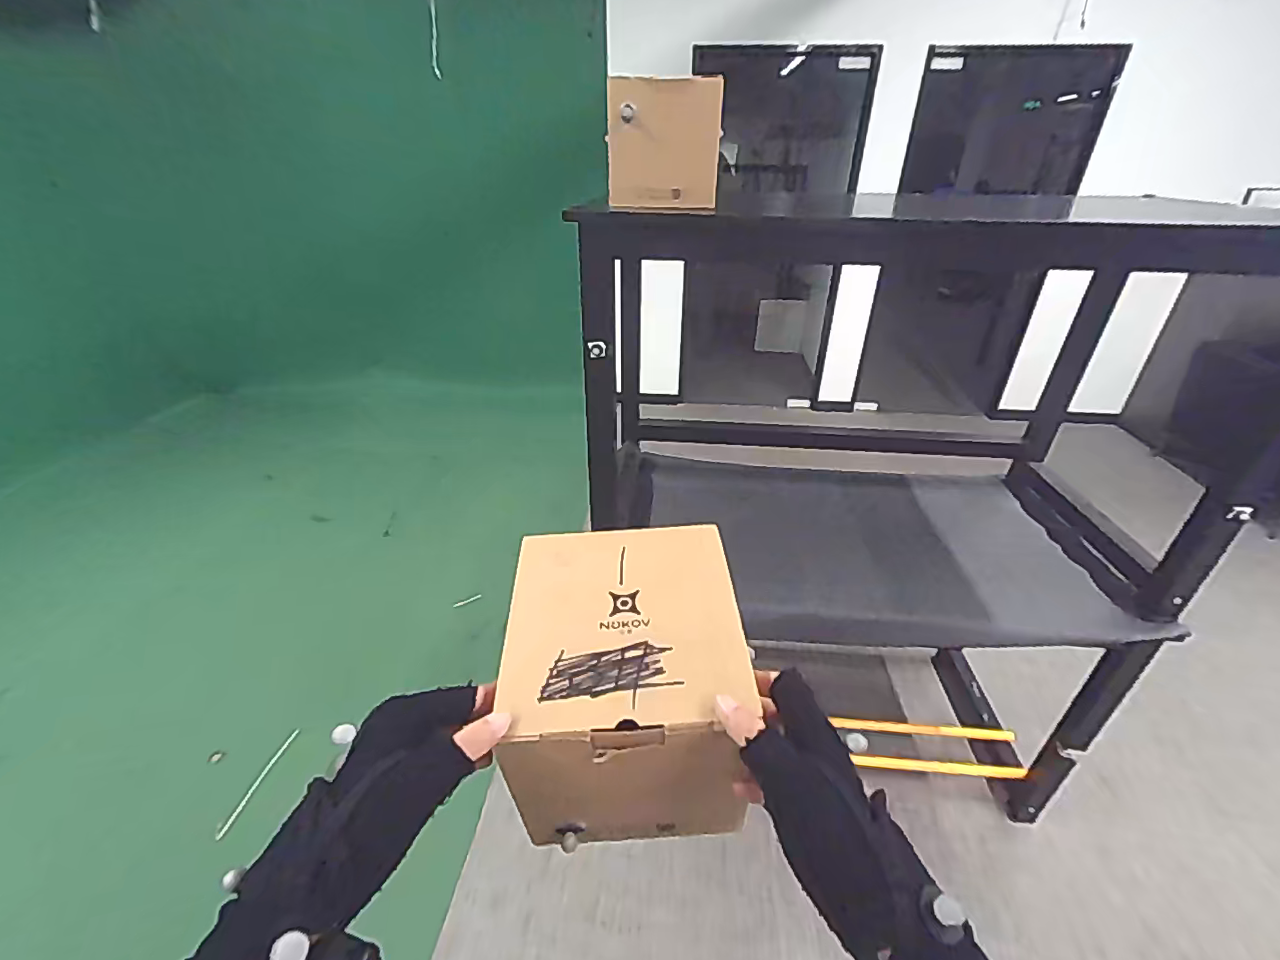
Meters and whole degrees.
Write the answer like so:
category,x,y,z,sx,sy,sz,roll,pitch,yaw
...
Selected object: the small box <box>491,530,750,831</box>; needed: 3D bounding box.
category,x,y,z,sx,sy,sz,roll,pitch,yaw
small box,-0.010,0.164,0.444,0.168,0.176,0.179,-3,37,-1
